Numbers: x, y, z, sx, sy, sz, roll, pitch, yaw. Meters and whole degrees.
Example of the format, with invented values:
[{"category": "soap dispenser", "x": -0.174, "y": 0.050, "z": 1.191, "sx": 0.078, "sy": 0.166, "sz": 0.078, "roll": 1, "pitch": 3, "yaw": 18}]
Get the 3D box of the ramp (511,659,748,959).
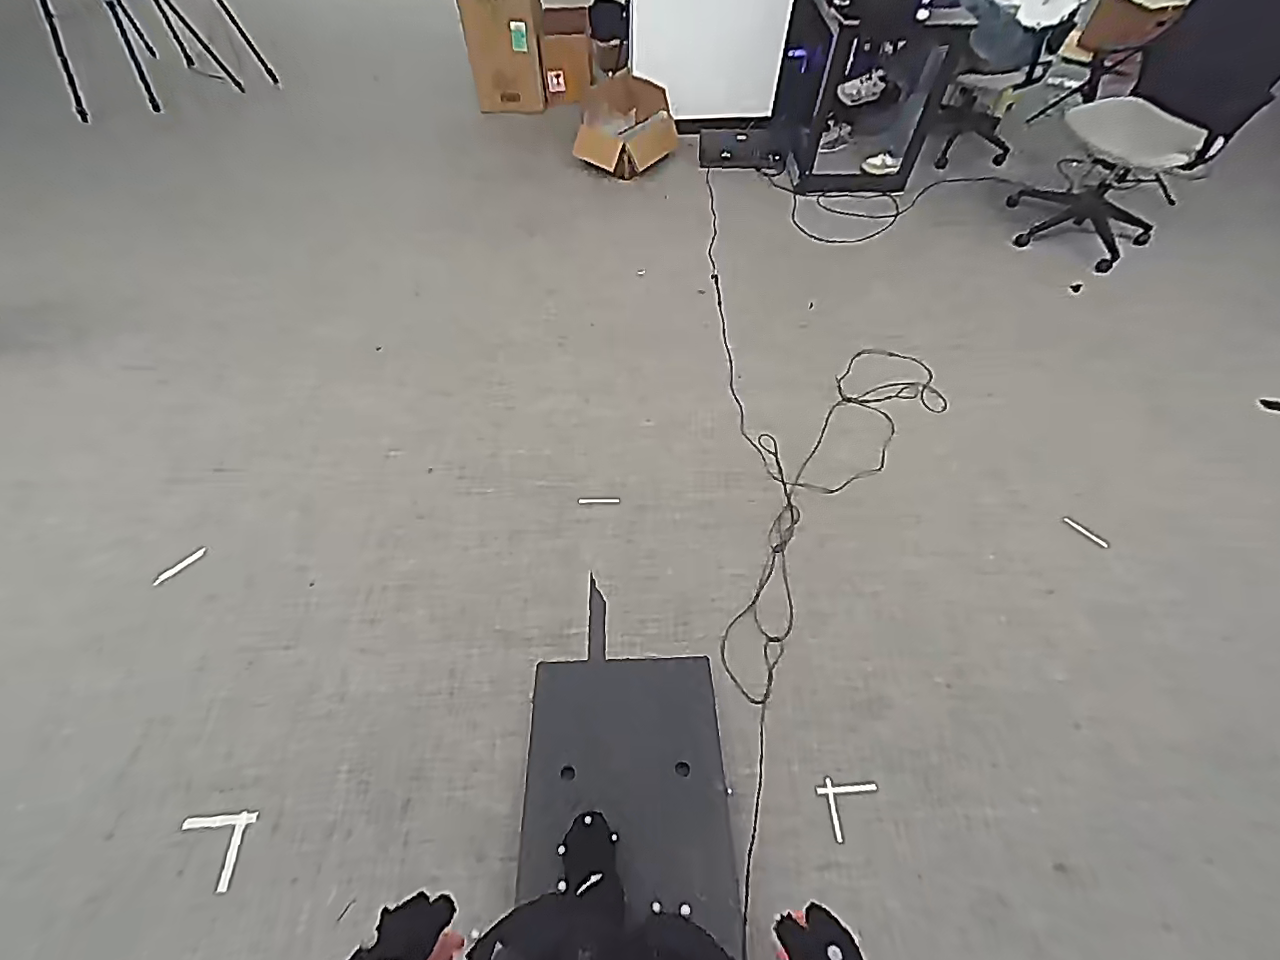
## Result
[{"category": "ramp", "x": -0.027, "y": 0.882, "z": 1.197, "sx": 0.509, "sy": 0.206, "sz": 0.991, "roll": -4, "pitch": 57, "yaw": -1}]
